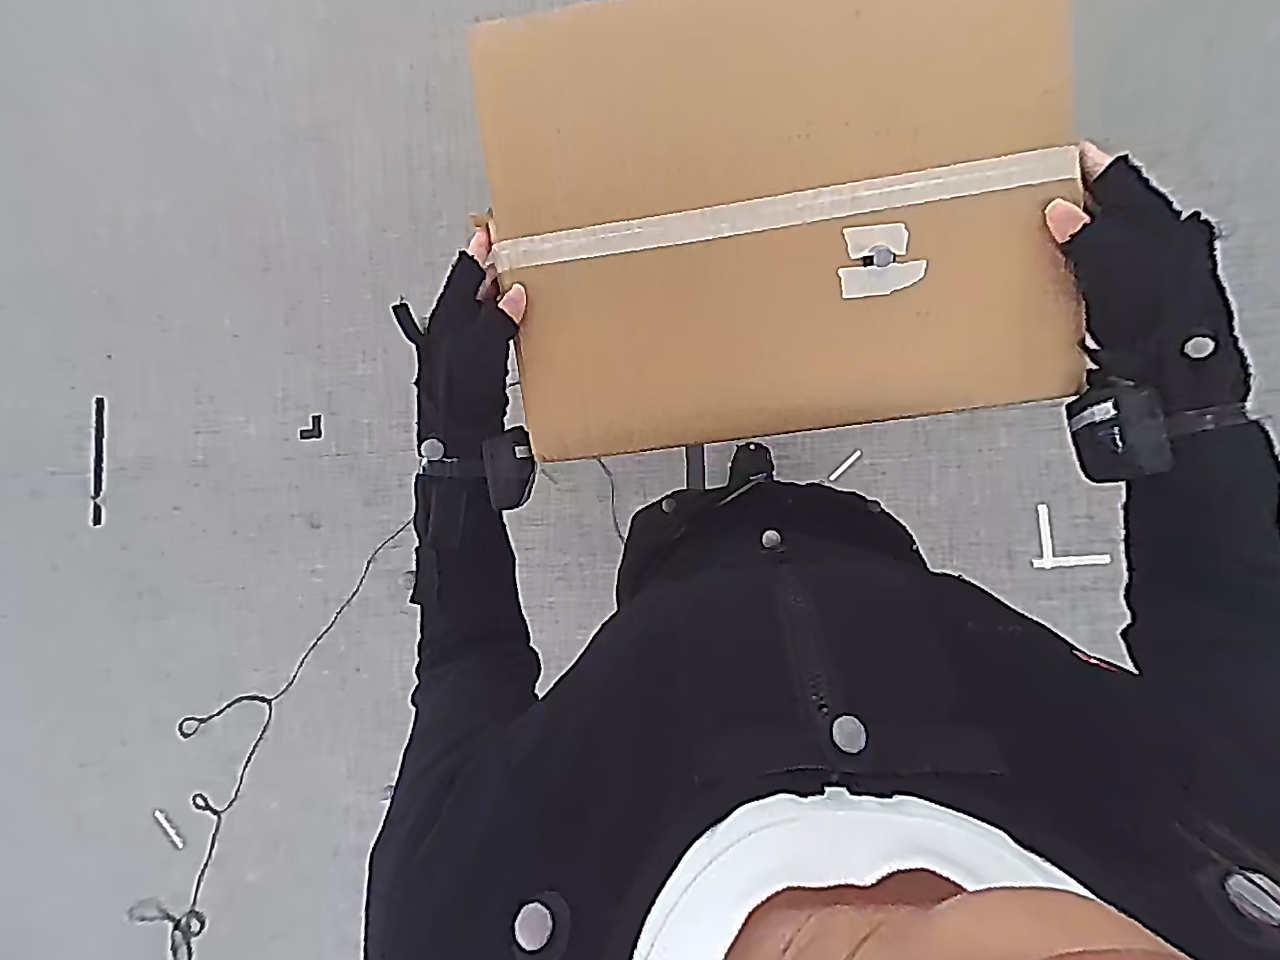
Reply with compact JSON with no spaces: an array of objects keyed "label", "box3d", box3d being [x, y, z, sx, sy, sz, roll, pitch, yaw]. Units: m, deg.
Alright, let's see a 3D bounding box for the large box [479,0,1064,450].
[{"label":"large box","box3d":[0.105,-0.221,0.544,0.408,0.320,0.320,-8,98,4]}]
